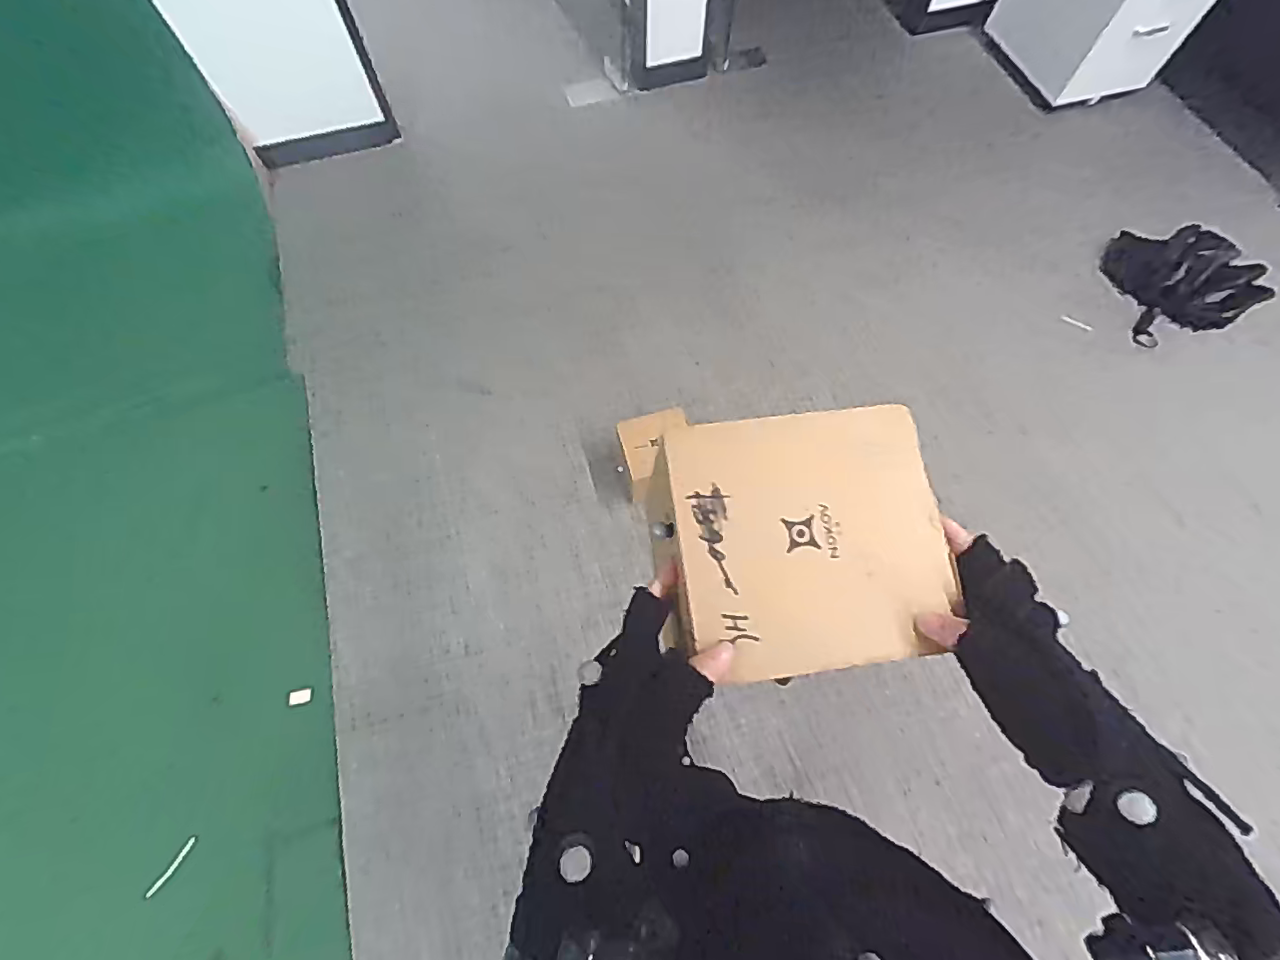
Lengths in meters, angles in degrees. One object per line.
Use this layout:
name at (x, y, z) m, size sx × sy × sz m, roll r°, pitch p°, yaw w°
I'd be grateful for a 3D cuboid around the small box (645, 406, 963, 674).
small box at (0.105, 0.054, 0.430) m, size 0.179 × 0.176 × 0.168 m, roll -5°, pitch 73°, yaw -6°

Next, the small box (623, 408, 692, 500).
small box at (0.056, -0.063, 1.405) m, size 0.179 × 0.176 × 0.168 m, roll -11°, pitch 66°, yaw -4°
